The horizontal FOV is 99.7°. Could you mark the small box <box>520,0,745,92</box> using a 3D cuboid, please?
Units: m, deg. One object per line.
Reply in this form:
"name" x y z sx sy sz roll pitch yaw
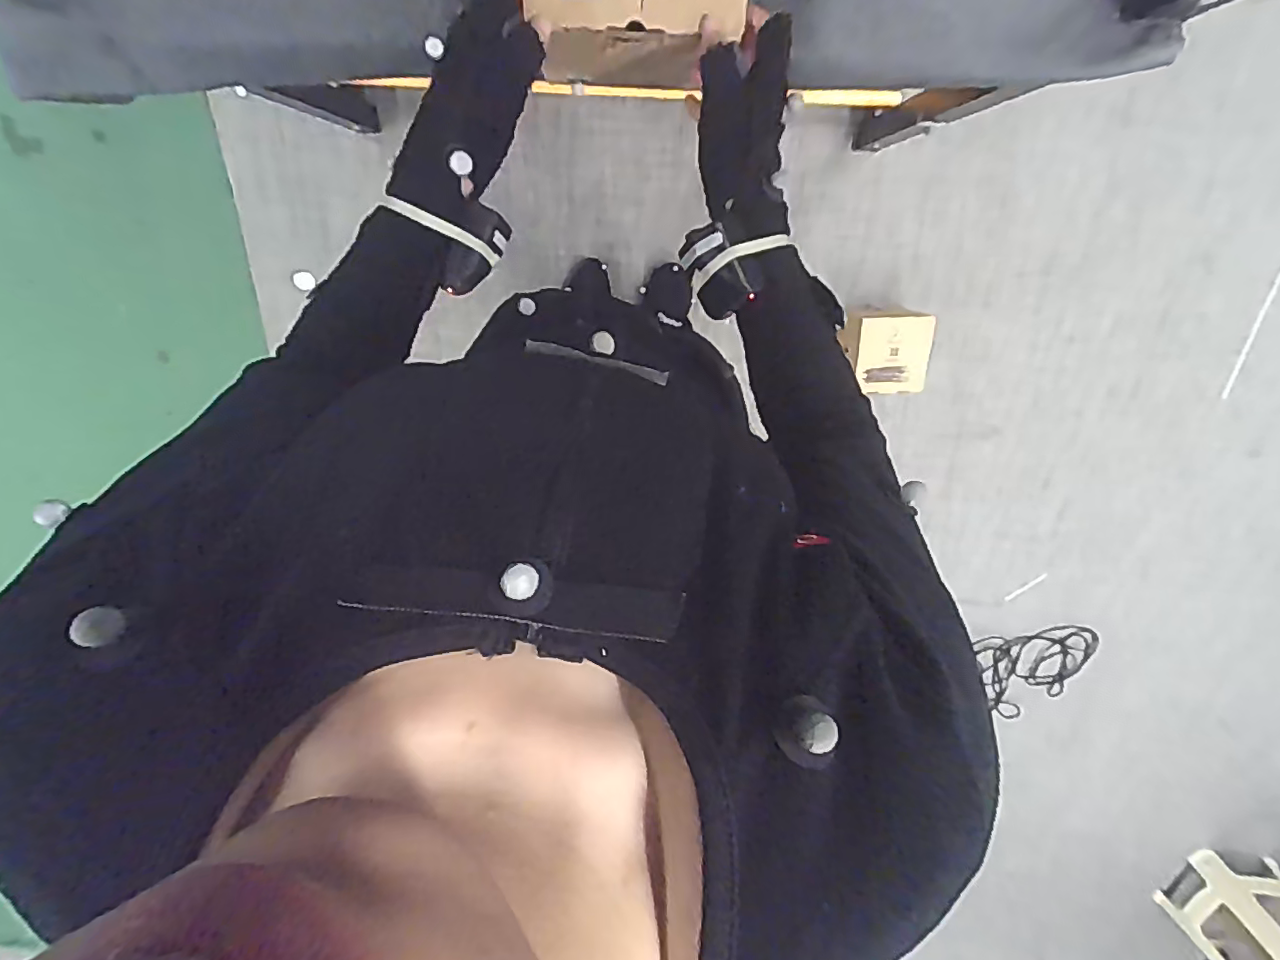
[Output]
"small box" -0.004 -0.435 0.435 0.168 0.176 0.179 1 114 -3
